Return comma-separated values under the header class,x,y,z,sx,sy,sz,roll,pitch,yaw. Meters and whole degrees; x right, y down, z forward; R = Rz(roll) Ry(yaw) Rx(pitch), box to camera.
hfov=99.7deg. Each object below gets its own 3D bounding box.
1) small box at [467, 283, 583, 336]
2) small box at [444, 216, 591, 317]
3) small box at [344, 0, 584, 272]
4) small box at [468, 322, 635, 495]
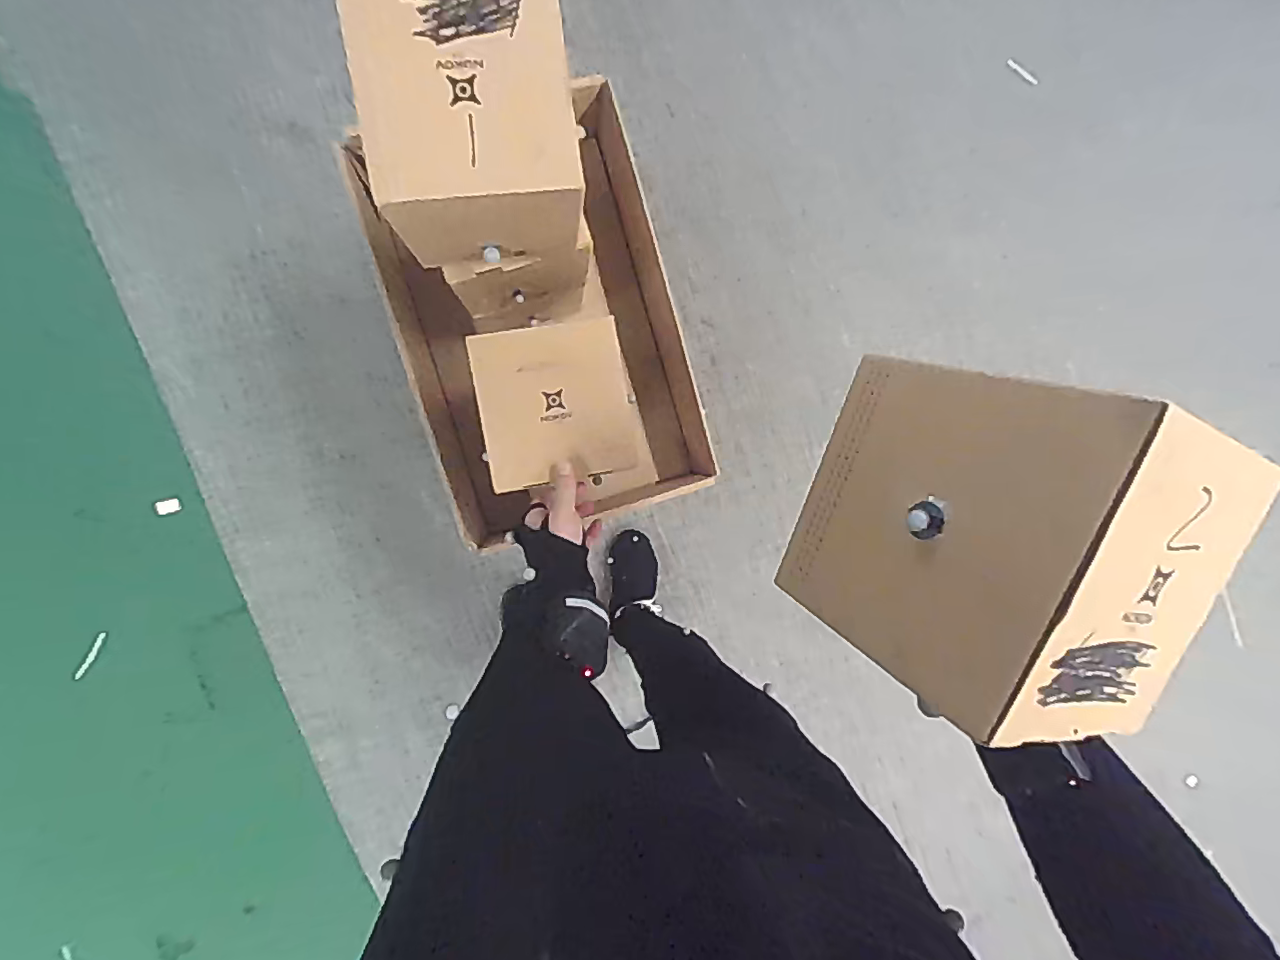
class,x,y,z,sx,sy,sz,roll,pitch,yaw
small box,-0.193,-0.335,0.823,0.168,0.176,0.179,-17,97,-6
small box,-0.168,-0.321,0.664,0.168,0.176,0.179,-18,98,-8
small box,-0.148,-0.311,0.501,0.168,0.176,0.179,-8,97,-8
small box,-0.107,-0.085,0.682,0.168,0.176,0.179,-10,94,-8
